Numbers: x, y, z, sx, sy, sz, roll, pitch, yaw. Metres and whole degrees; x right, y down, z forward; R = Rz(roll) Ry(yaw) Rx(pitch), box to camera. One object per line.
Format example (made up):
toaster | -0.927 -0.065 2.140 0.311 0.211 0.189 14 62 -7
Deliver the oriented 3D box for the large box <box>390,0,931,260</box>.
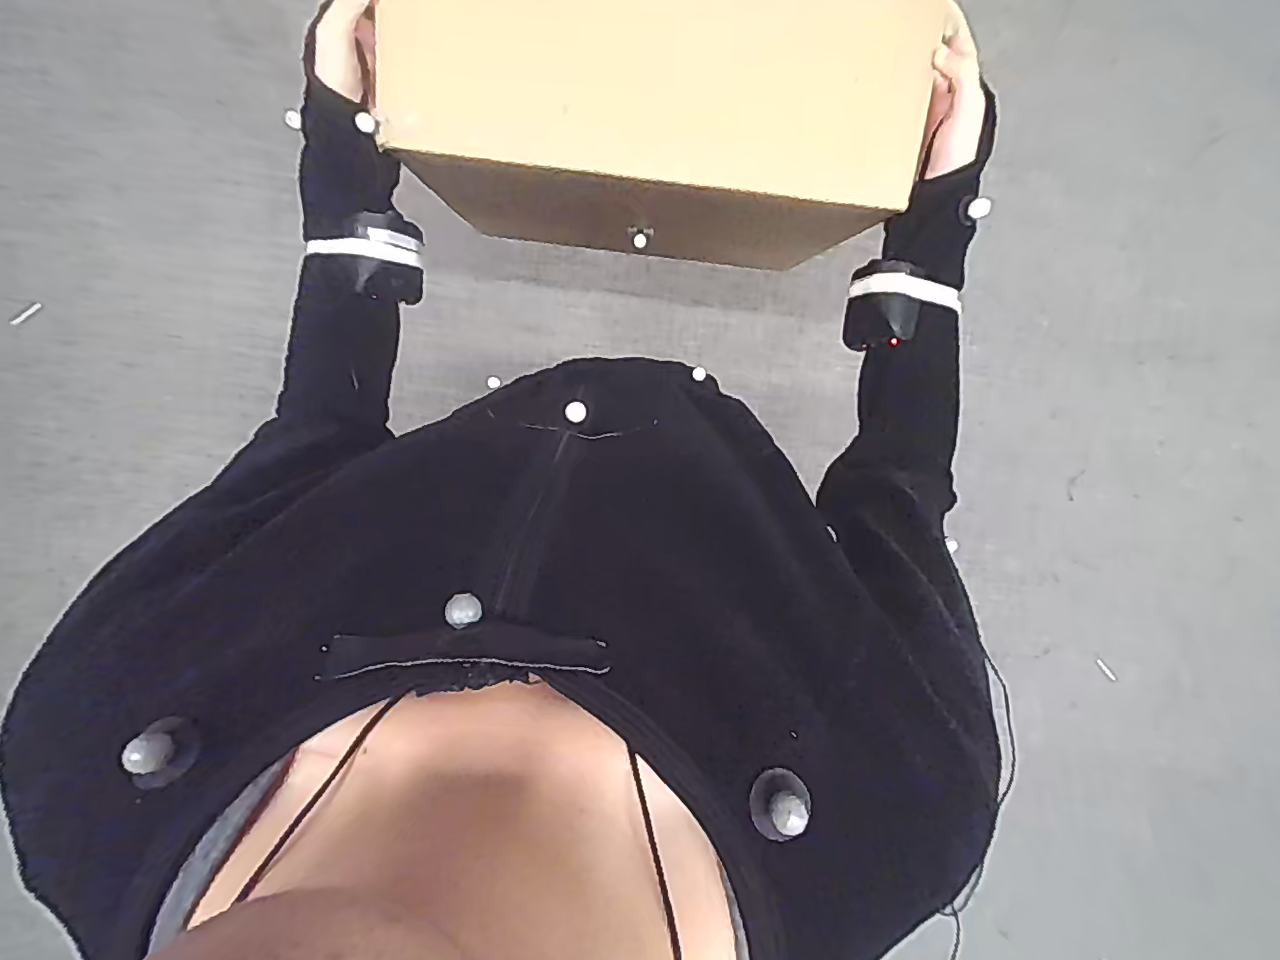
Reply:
large box | 0.019 -0.415 0.534 0.408 0.320 0.320 5 103 -3
